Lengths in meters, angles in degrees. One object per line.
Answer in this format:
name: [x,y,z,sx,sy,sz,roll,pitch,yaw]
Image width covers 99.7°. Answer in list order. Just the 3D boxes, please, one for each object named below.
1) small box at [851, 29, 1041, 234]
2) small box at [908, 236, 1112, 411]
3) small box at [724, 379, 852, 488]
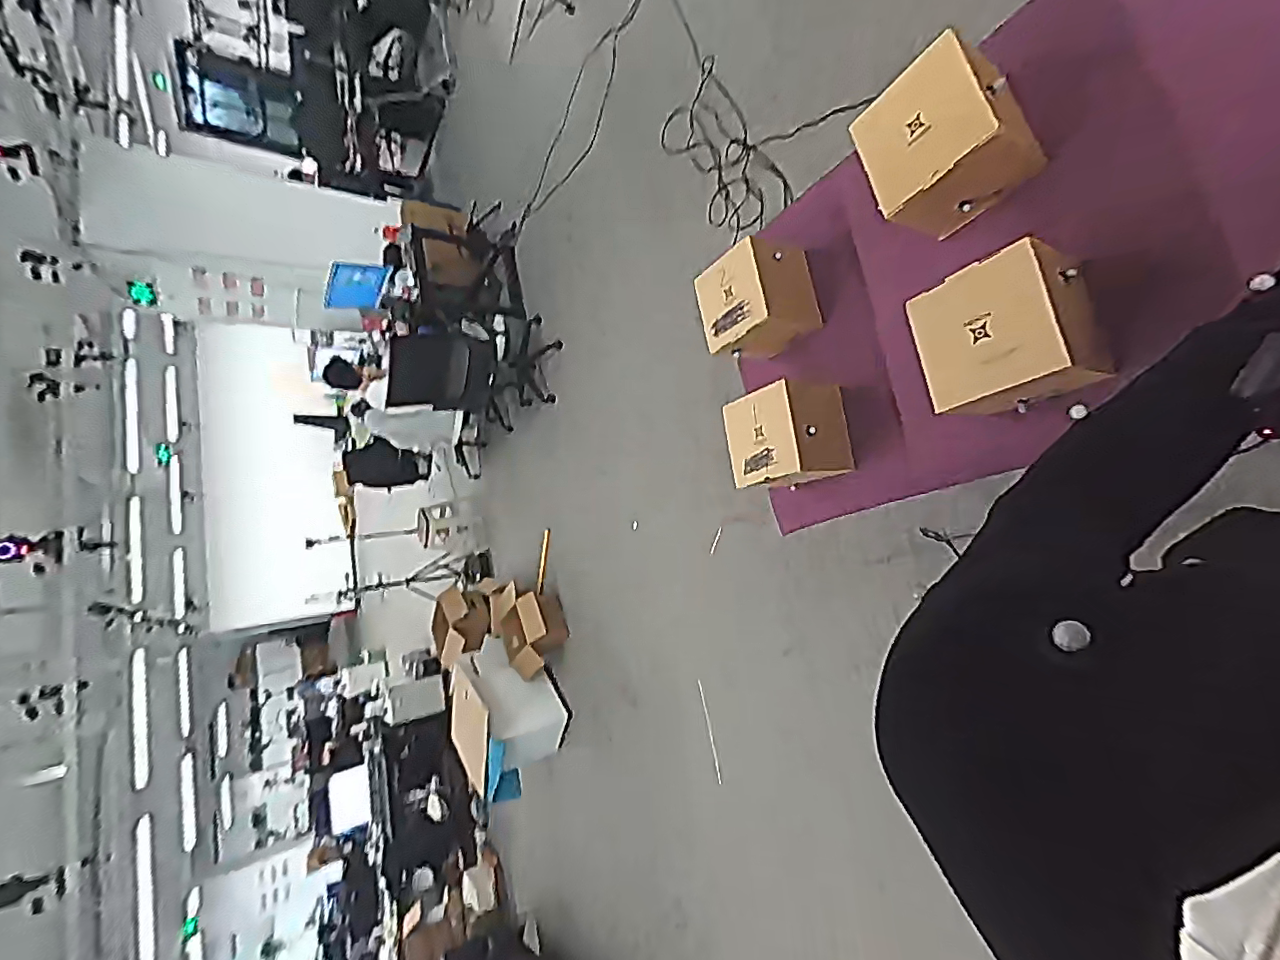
small box: [0.458,-0.506,0.815,0.168,0.176,0.179,-31,70,50]
small box: [0.517,-0.204,0.761,0.168,0.176,0.179,-24,74,53]
small box: [0.296,-0.087,1.073,0.168,0.176,0.179,-20,75,53]
